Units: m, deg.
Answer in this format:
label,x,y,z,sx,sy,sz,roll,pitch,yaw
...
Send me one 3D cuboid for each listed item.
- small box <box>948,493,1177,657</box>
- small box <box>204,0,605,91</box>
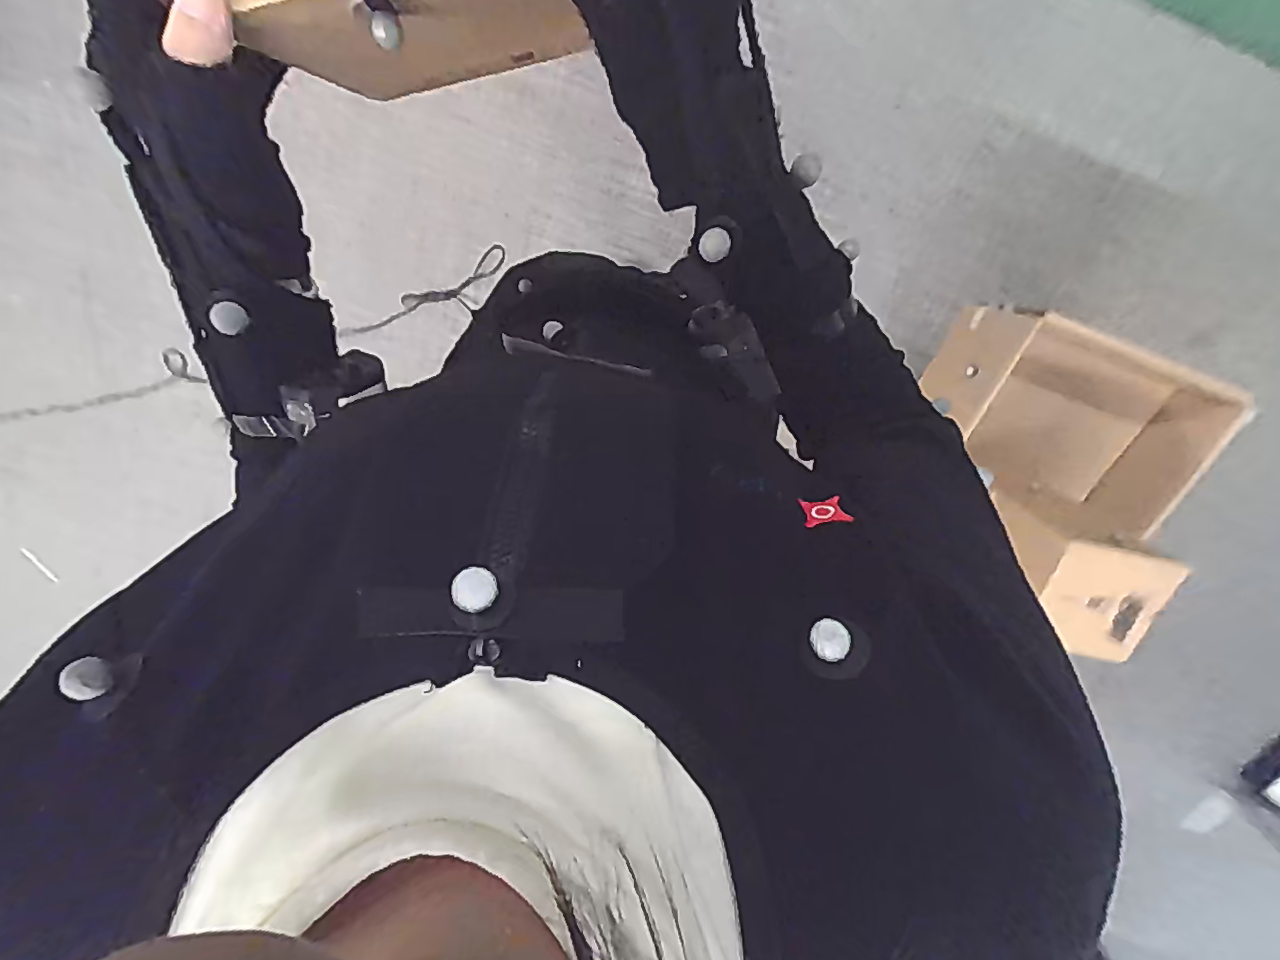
label,x,y,z,sx,sy,sz,roll,pitch,yaw
small box,0.619,0.136,0.820,0.179,0.176,0.168,13,111,-5
small box,-0.114,-0.304,0.233,0.168,0.176,0.179,-12,116,4
